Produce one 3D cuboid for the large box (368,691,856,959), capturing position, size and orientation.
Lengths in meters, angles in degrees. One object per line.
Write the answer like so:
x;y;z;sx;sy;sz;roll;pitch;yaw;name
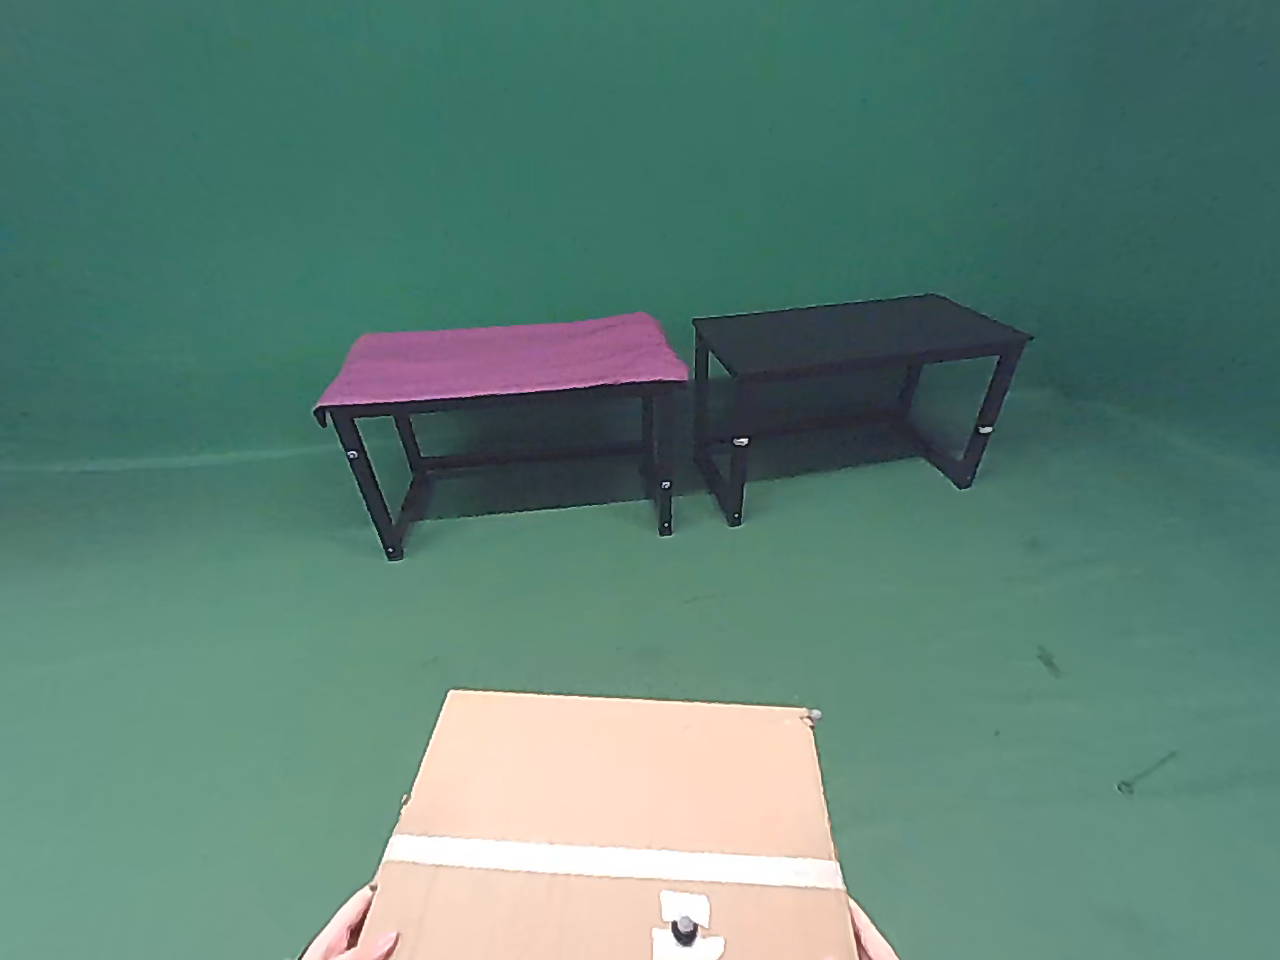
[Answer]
-0.022;0.459;0.588;0.408;0.320;0.320;2;39;2;large box
